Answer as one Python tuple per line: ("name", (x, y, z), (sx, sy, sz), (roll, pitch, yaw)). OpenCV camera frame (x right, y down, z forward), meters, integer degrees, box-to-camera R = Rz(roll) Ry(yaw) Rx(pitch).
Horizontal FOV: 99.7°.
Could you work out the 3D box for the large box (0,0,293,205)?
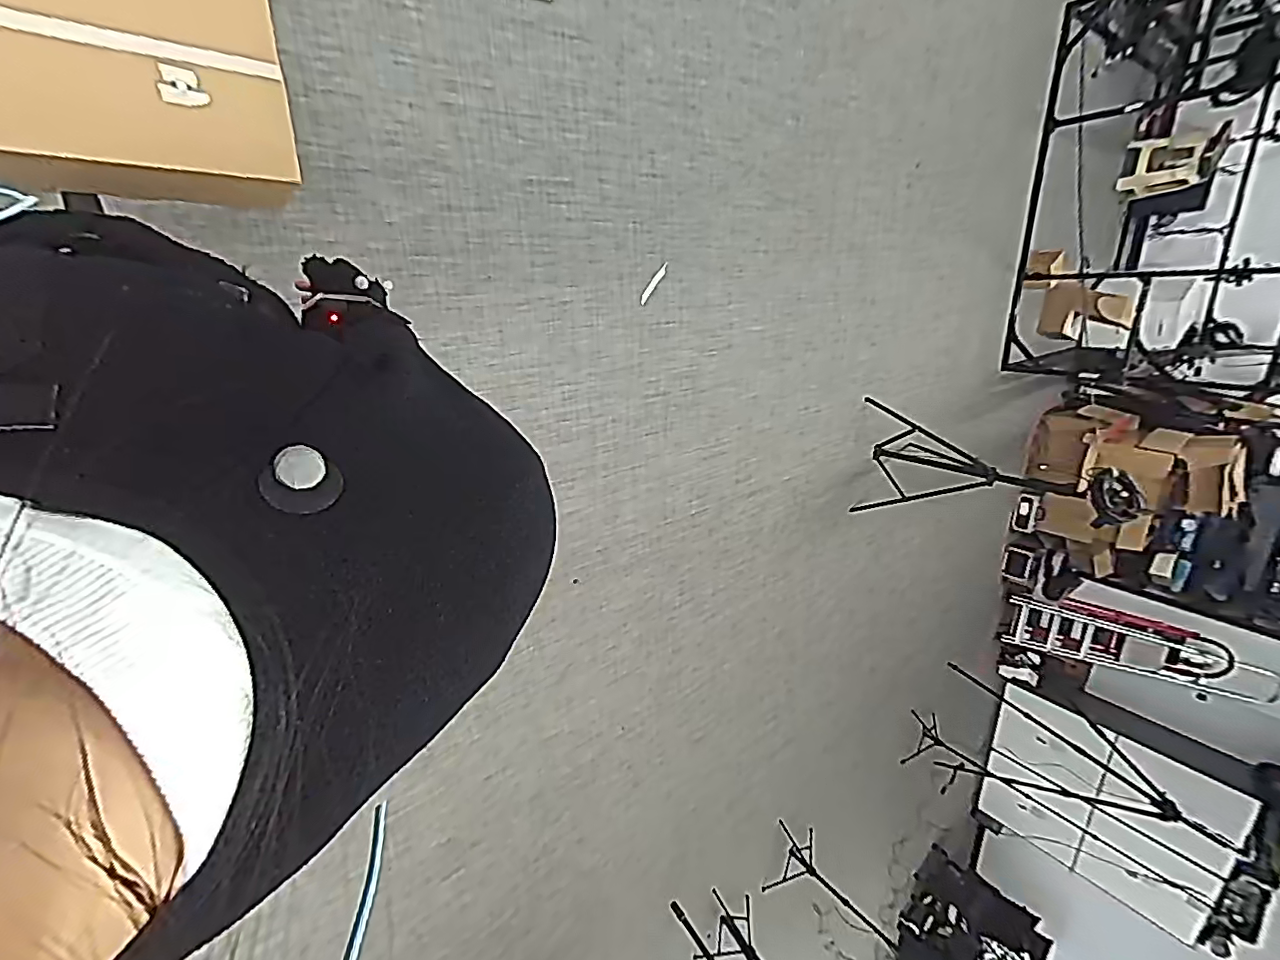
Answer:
("large box", (-0.839, -0.646, 0.864), (0.408, 0.320, 0.320), (-15, 113, -37))
